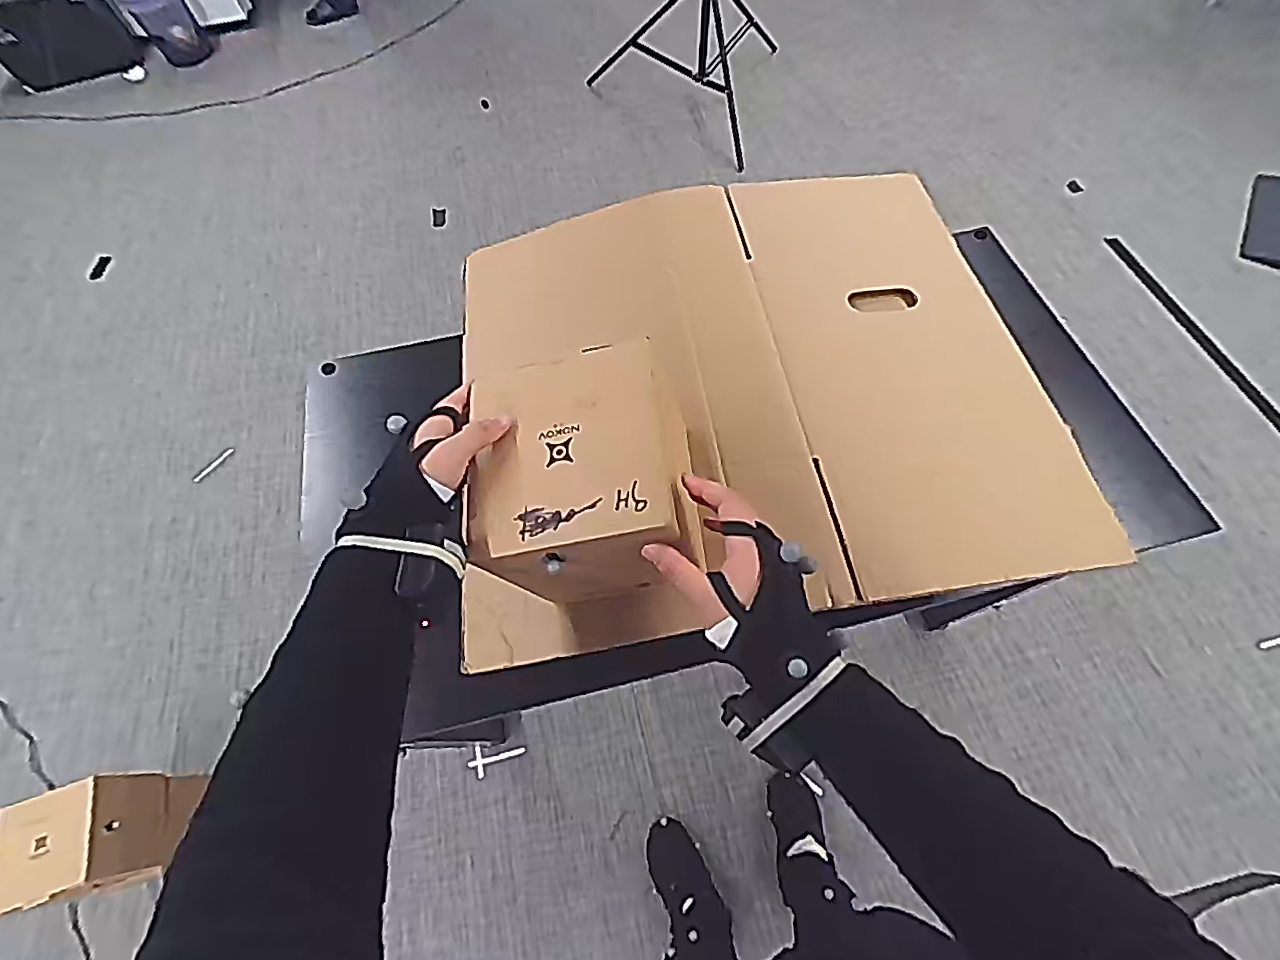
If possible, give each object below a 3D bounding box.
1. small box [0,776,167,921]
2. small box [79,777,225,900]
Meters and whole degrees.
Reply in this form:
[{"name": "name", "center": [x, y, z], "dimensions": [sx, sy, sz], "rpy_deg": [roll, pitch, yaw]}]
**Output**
[{"name": "small box", "center": [-1.048, 0.685, 1.026], "dimensions": [0.168, 0.176, 0.179], "rpy_deg": [-19, 63, -8]}, {"name": "small box", "center": [-1.039, 0.761, 1.169], "dimensions": [0.168, 0.176, 0.179], "rpy_deg": [-17, 65, -6]}]
